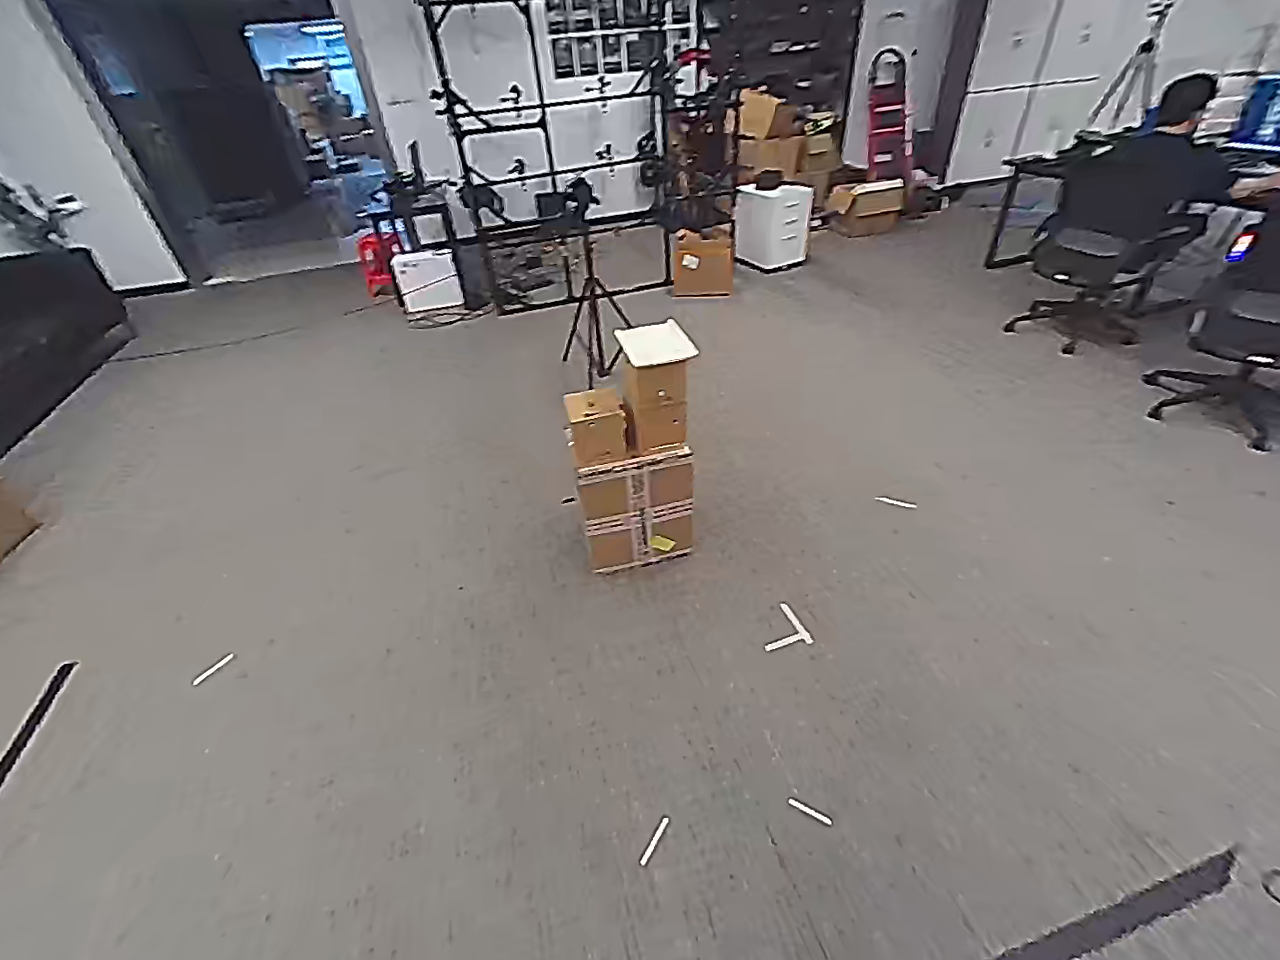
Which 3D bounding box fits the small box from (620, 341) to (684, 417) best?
[{"bbox_3d":[0.035,-0.322,1.728,0.168,0.176,0.179,-11,40,-11],"label":"small box"}]
